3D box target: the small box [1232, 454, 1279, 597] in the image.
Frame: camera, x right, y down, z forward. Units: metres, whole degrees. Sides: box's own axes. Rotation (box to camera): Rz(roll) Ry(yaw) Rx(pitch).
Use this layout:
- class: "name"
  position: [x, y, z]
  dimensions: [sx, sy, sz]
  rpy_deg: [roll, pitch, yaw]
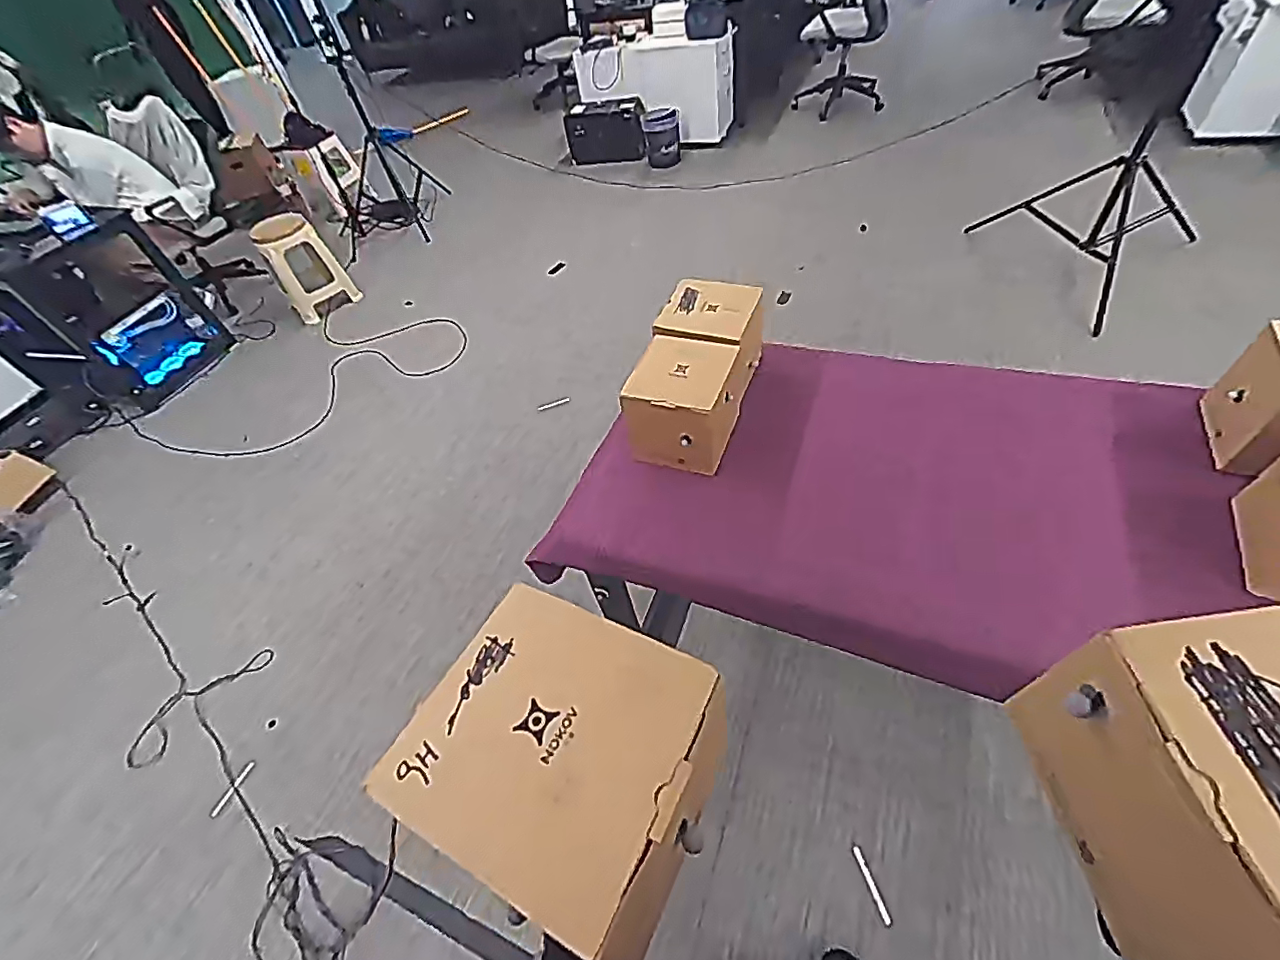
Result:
- class: "small box"
  position: [0.913, 0.063, 0.682]
  dimensions: [0.168, 0.176, 0.179]
  rpy_deg: [16, 55, 23]

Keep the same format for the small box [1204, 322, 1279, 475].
- class: "small box"
  position: [0.995, -0.108, 0.800]
  dimensions: [0.179, 0.176, 0.168]
  rpy_deg: [14, 55, 20]

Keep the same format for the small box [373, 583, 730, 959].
- class: "small box"
  position: [-0.045, 0.213, 0.403]
  dimensions: [0.179, 0.176, 0.168]
  rpy_deg: [18, 52, 23]

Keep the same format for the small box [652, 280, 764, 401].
- class: "small box"
  position: [0.142, -0.282, 1.104]
  dimensions: [0.179, 0.176, 0.168]
  rpy_deg: [15, 57, 20]
